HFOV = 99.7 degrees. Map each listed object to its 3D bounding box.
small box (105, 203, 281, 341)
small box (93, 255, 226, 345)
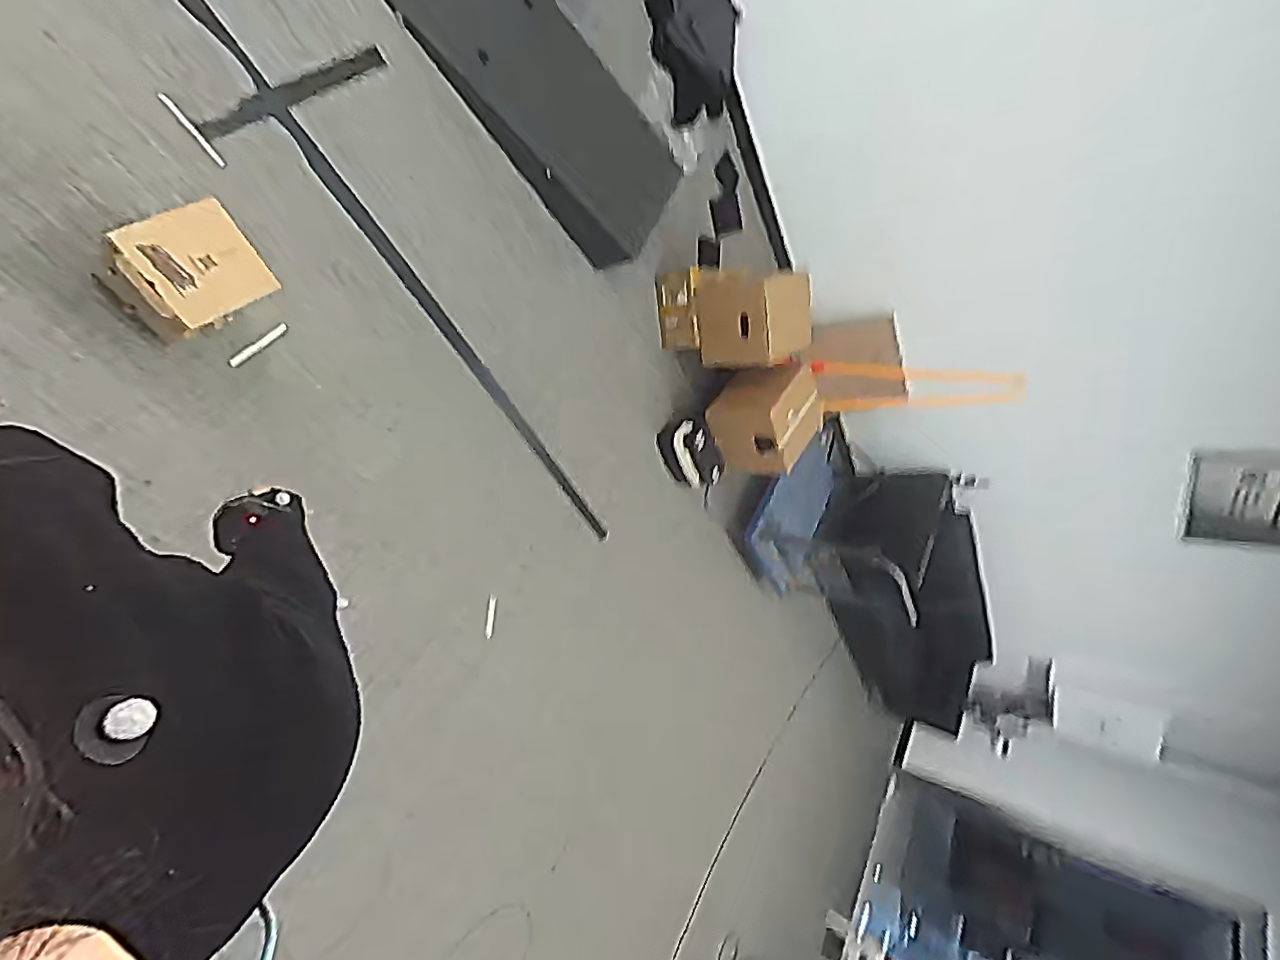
[{"bbox_3d":[-0.802,-0.365,0.970,0.179,0.176,0.168,-49,128,-34],"label":"small box"},{"bbox_3d":[-0.925,-0.384,1.079,0.168,0.176,0.179,-53,131,-31],"label":"small box"}]
